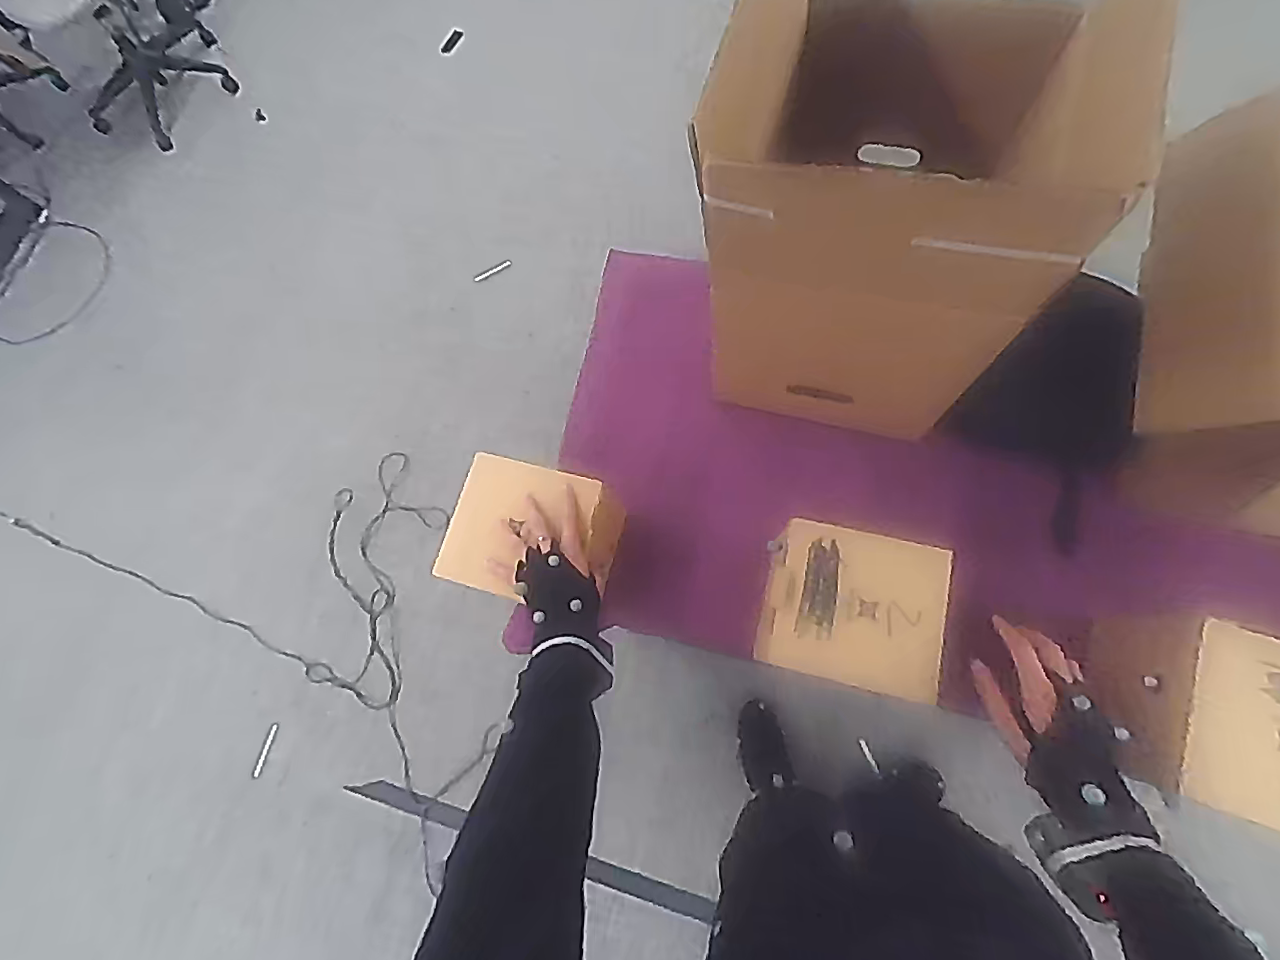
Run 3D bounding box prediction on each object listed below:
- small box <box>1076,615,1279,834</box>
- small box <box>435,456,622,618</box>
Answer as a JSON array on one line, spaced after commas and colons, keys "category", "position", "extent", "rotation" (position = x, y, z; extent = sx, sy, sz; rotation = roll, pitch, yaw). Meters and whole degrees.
[{"category": "small box", "position": [0.613, 0.256, 0.577], "extent": [0.168, 0.176, 0.179], "rotation": [17, 78, 13]}, {"category": "small box", "position": [-0.136, 0.086, 0.733], "extent": [0.179, 0.176, 0.168], "rotation": [14, 76, 10]}]
